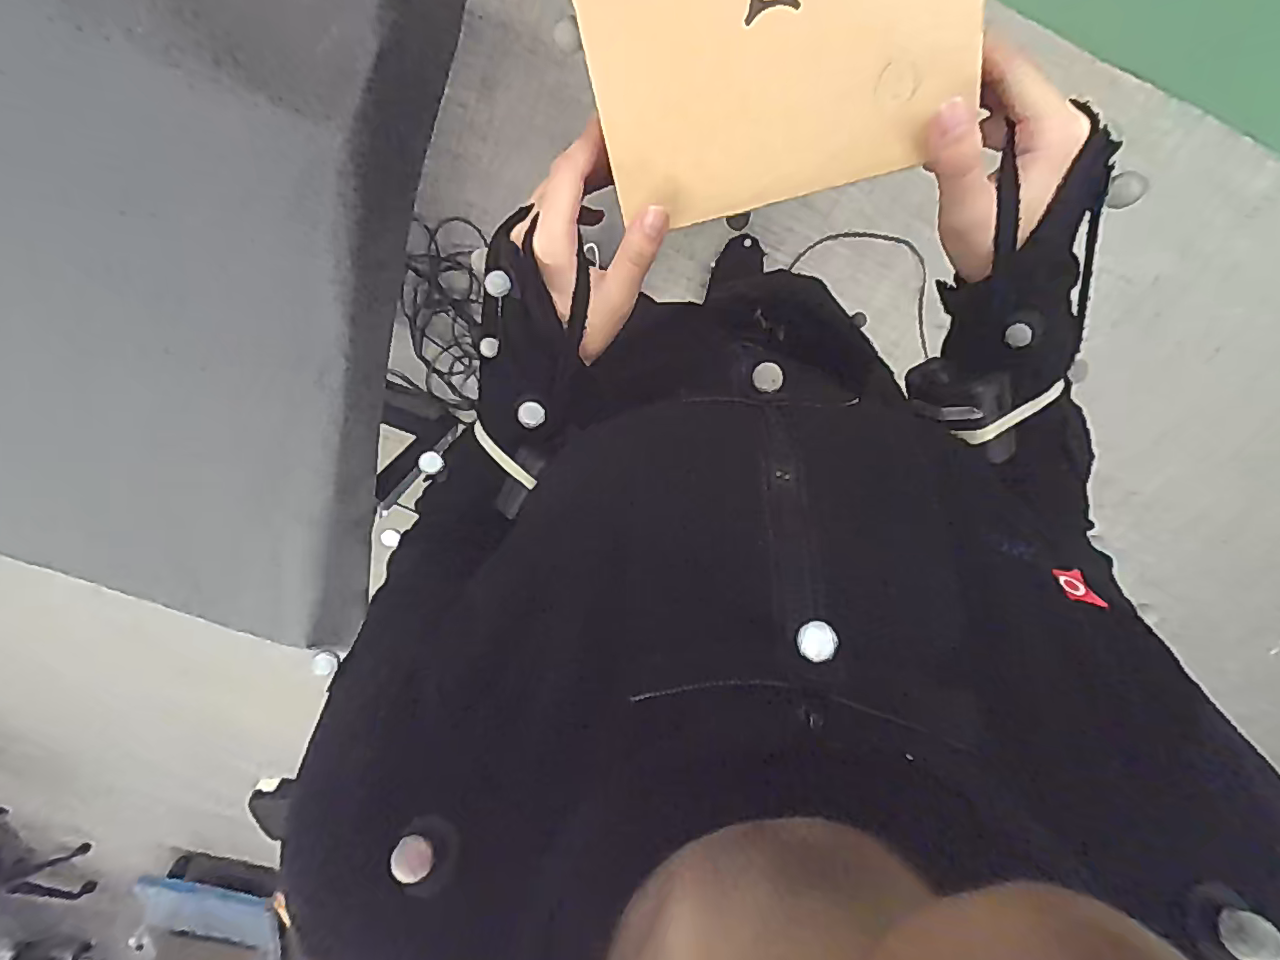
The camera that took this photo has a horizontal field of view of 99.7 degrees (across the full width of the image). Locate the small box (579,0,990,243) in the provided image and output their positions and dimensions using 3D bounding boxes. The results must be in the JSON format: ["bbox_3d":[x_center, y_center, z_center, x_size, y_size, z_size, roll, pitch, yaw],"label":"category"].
[{"bbox_3d":[0.064,-0.247,0.289,0.168,0.176,0.179,-10,118,11],"label":"small box"}]
